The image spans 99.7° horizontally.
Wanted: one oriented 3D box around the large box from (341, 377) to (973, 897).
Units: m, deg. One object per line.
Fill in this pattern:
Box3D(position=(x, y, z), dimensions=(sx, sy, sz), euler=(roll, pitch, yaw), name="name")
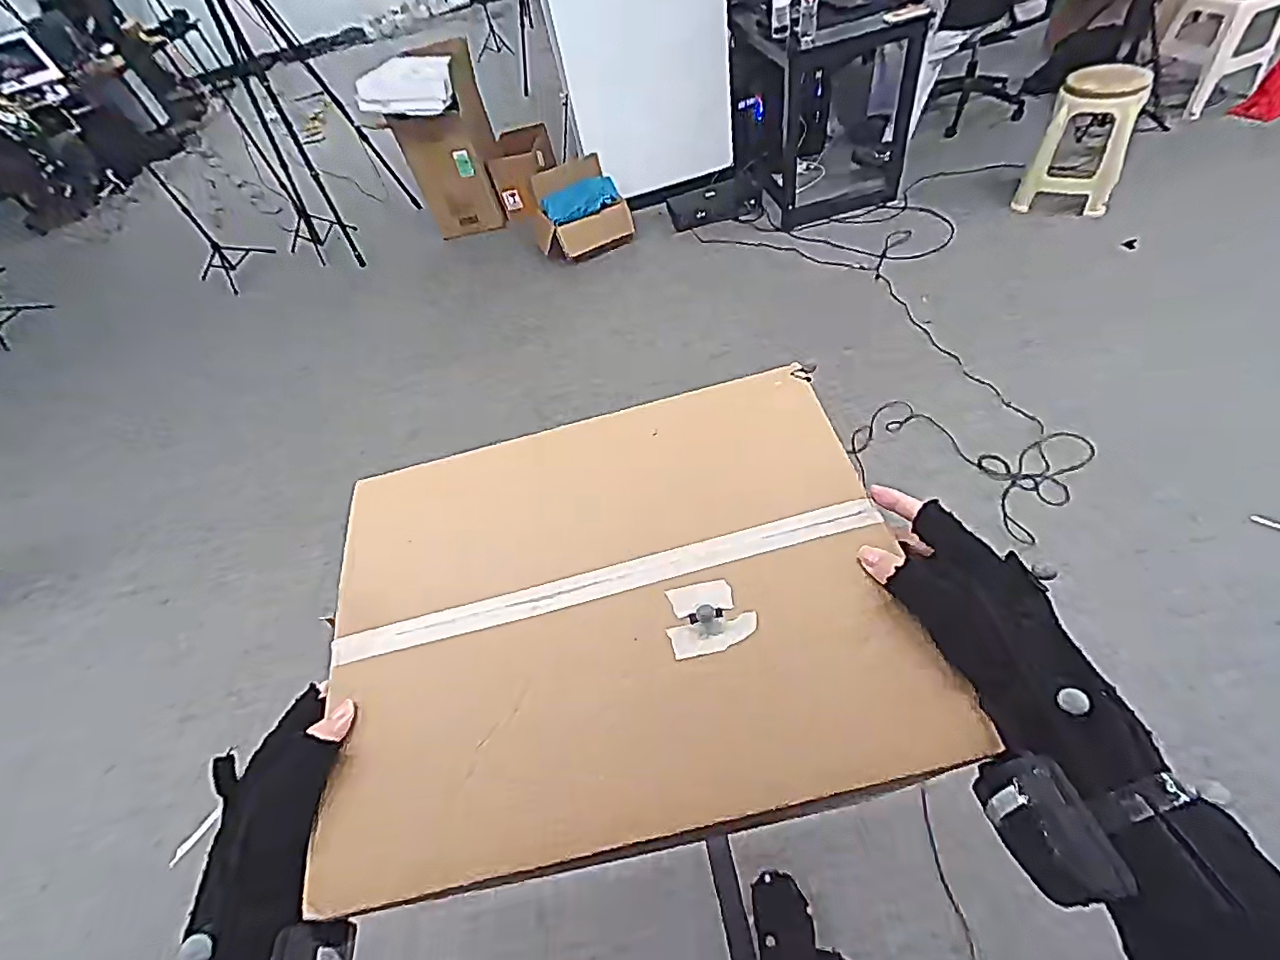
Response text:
Box3D(position=(0.002, 0.160, 0.528), dimensions=(0.408, 0.320, 0.320), euler=(-15, 56, 1), name="large box")
